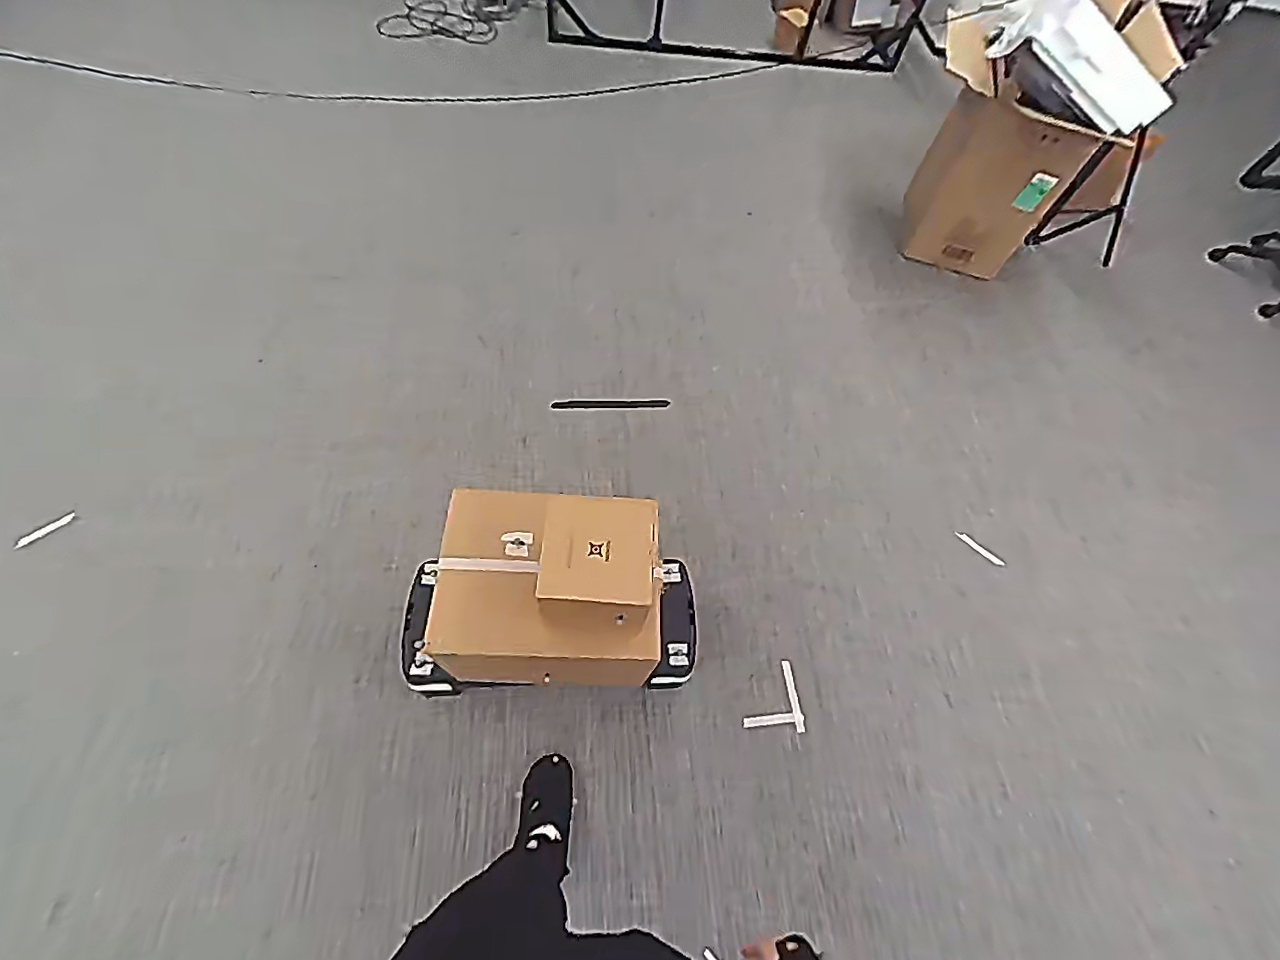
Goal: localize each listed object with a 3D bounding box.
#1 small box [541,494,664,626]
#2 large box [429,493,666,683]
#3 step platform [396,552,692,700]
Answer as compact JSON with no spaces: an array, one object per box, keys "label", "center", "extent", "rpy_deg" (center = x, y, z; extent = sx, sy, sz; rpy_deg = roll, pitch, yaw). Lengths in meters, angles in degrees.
[{"label":"small box","center":[-0.061,0.139,0.895],"extent":[0.179,0.176,0.168],"rpy_deg":[5,61,-3]},{"label":"large box","center":[-0.165,0.236,1.112],"extent":[0.408,0.320,0.320],"rpy_deg":[3,60,-4]},{"label":"step platform","center":[-0.215,0.354,1.314],"extent":[0.684,0.204,0.286],"rpy_deg":[5,60,-3]}]
